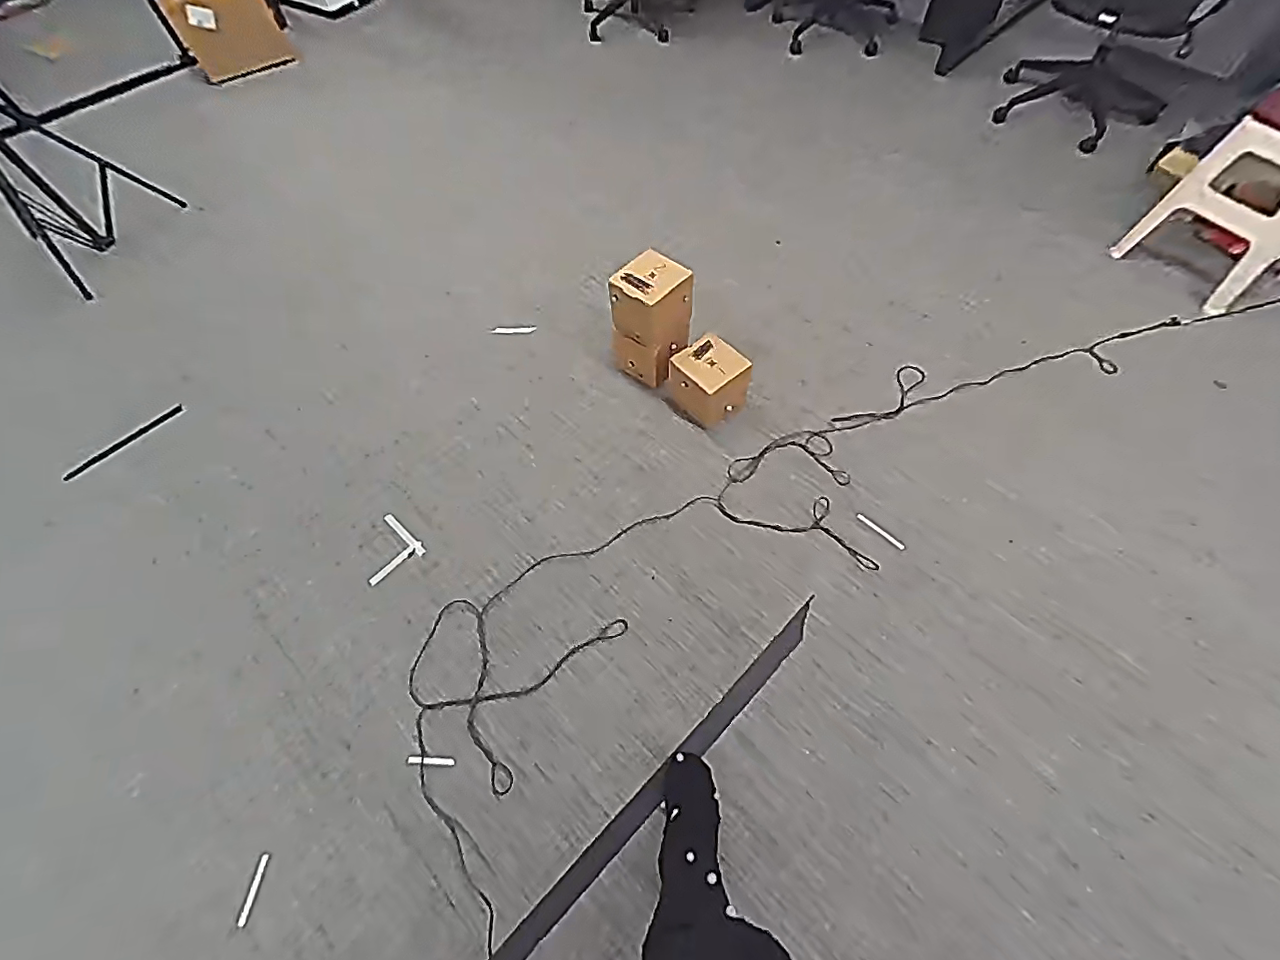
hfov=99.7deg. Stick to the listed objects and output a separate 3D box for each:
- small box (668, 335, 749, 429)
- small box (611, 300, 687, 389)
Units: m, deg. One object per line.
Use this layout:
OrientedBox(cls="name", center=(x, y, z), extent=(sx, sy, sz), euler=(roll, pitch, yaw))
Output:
OrientedBox(cls="small box", center=(0.196, -0.286, 1.597), extent=(0.168, 0.176, 0.179), euler=(-37, 64, -17))
OrientedBox(cls="small box", center=(0.030, -0.421, 1.691), extent=(0.168, 0.176, 0.179), euler=(33, 67, 21))
